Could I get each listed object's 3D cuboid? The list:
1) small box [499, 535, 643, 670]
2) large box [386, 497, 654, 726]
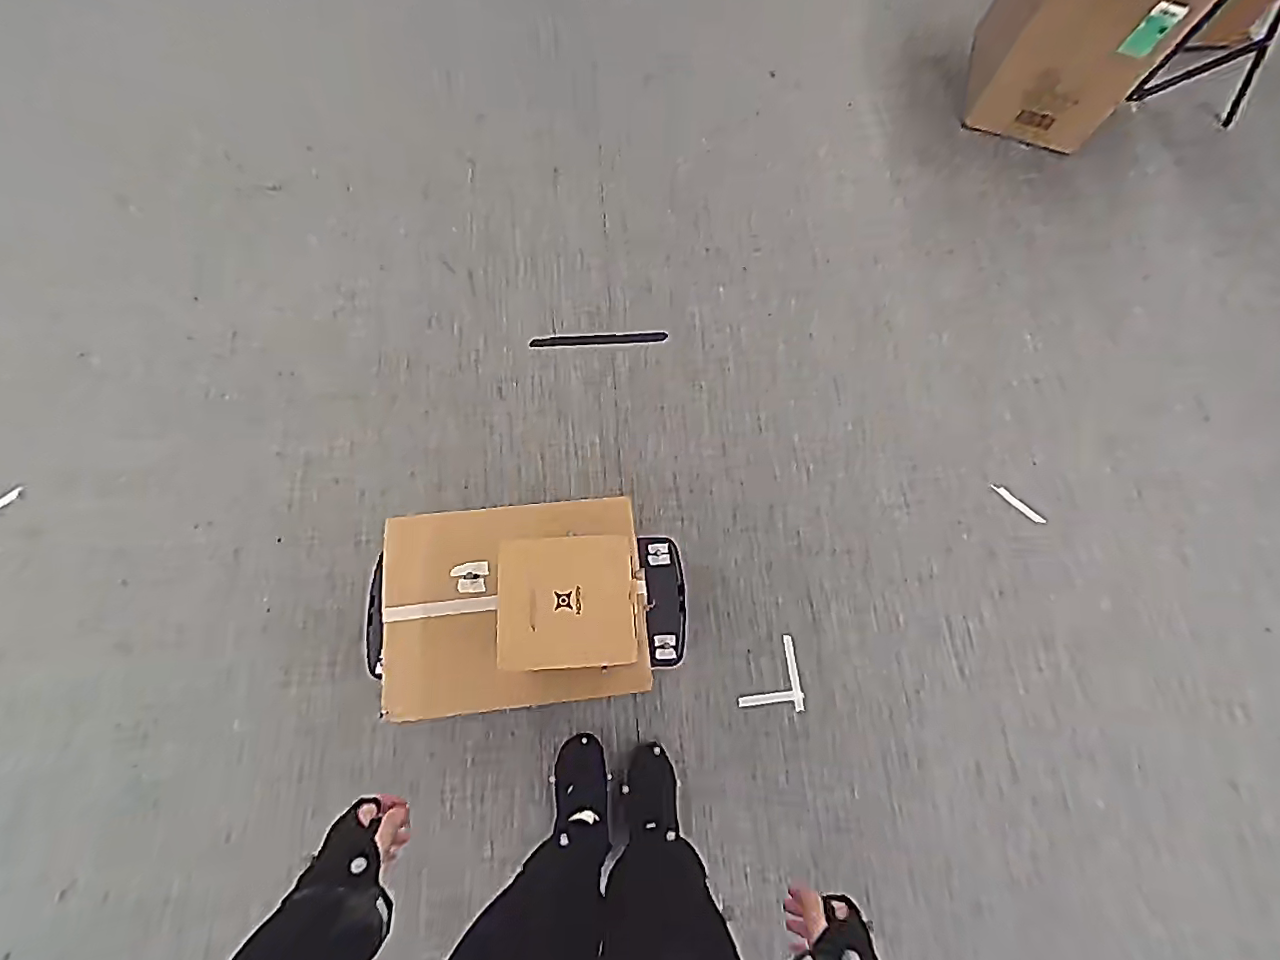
[{"bbox_3d":[-0.092,0.172,0.756,0.179,0.176,0.168,-2,73,-3],"label":"small box"},{"bbox_3d":[-0.197,0.236,0.987,0.408,0.320,0.320,-5,72,-4],"label":"large box"}]
